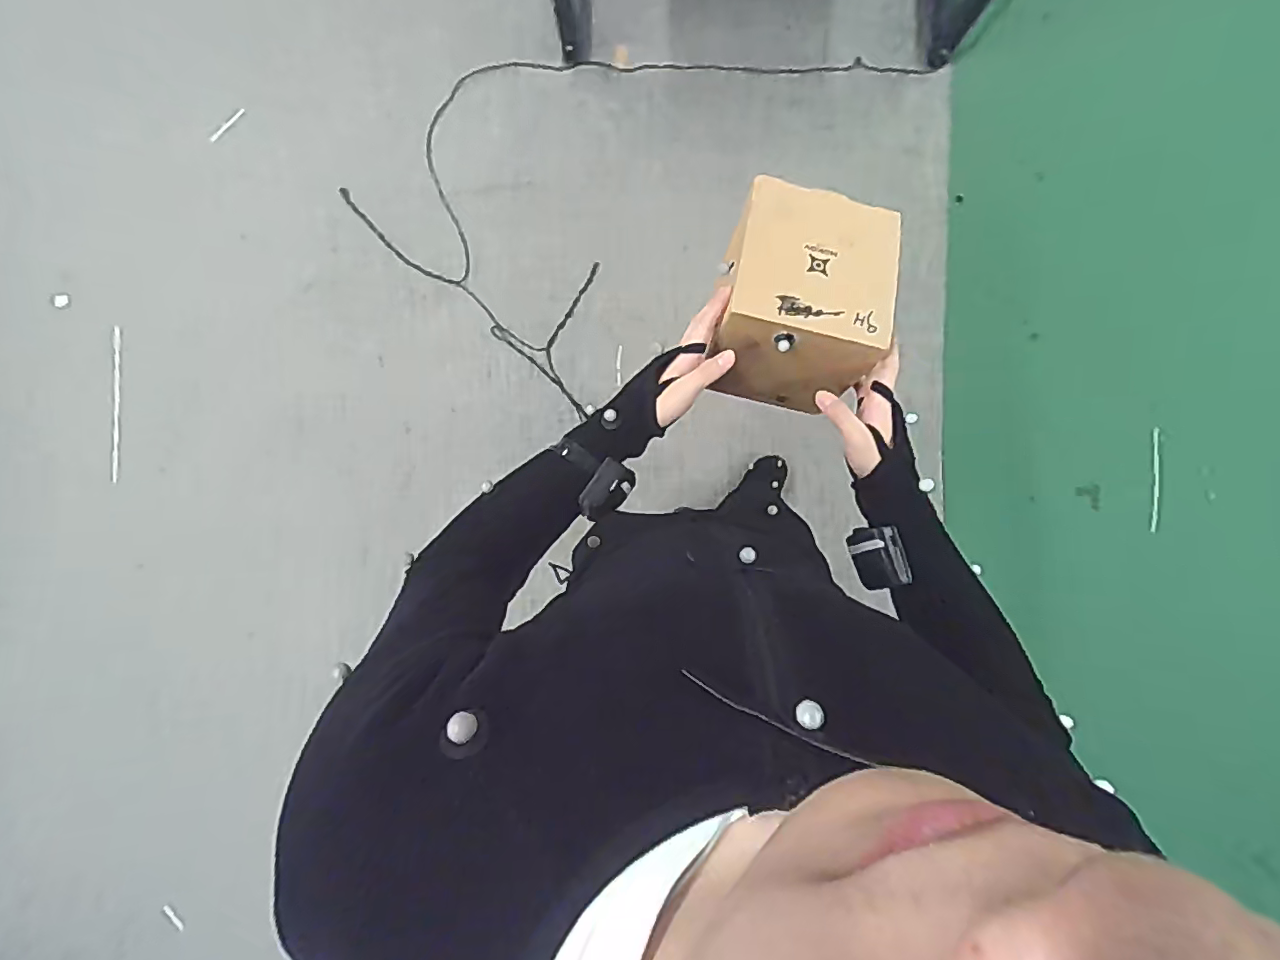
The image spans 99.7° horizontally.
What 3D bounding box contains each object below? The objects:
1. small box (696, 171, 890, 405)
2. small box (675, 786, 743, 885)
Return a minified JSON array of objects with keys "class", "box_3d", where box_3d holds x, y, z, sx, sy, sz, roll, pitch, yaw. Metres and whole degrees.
[{"class":"small box","box_3d":[0.170,-0.214,0.639,0.168,0.176,0.179,12,72,-2]},{"class":"small box","box_3d":[0.185,0.978,1.501,0.168,0.176,0.179,2,89,0]}]
